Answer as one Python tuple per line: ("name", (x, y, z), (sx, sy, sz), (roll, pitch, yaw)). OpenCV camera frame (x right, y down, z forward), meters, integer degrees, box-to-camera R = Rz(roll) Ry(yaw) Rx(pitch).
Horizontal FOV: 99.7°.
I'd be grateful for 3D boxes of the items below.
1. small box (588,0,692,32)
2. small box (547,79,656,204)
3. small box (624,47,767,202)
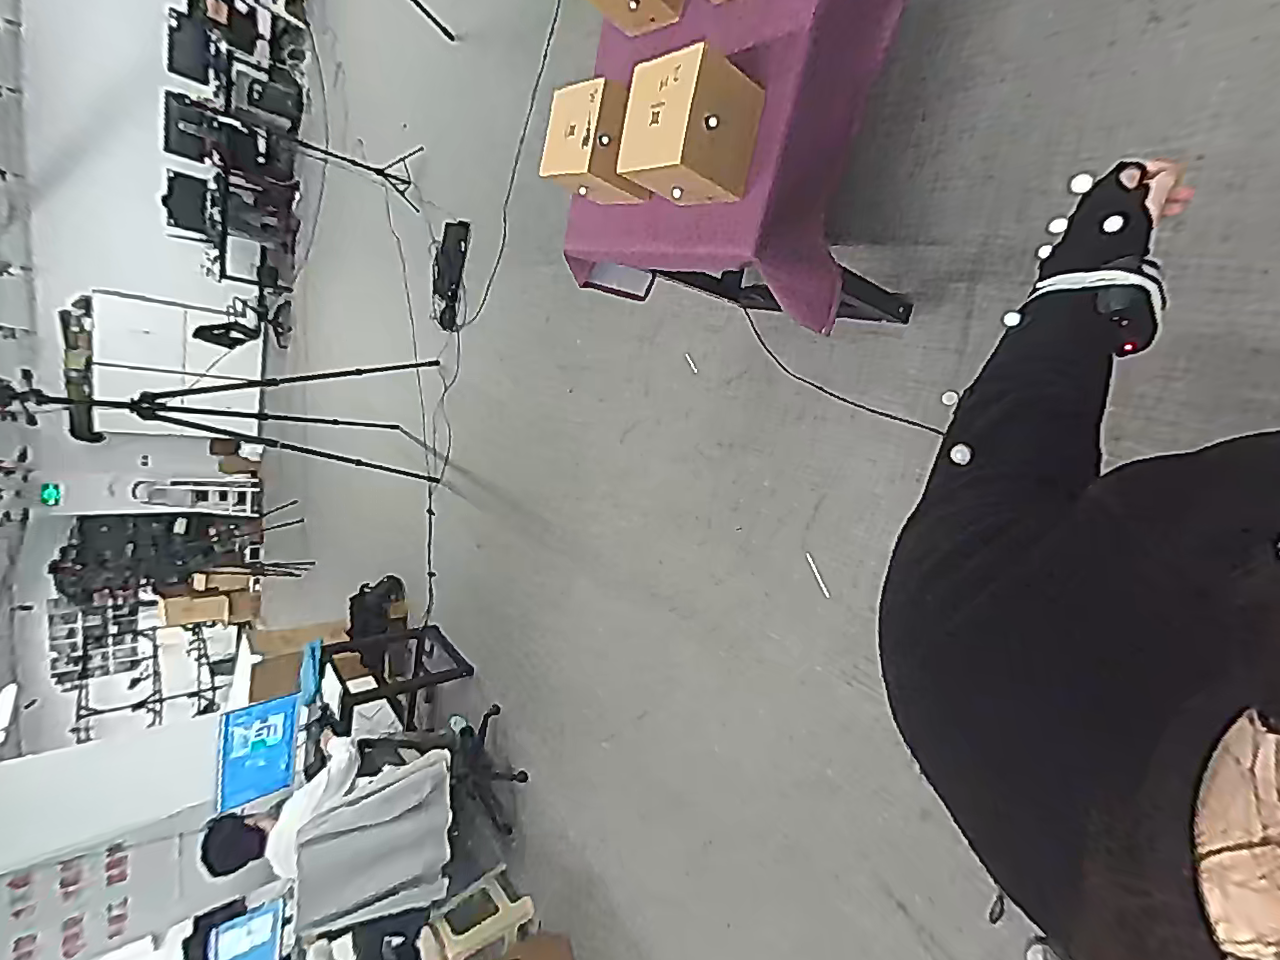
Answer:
("small box", (0.009, -1.024, 1.060), (0.168, 0.176, 0.179), (30, 110, 42))
("small box", (-0.065, -0.695, 1.134), (0.179, 0.176, 0.168), (28, 109, 44))
("small box", (0.100, -0.607, 0.956), (0.168, 0.176, 0.179), (26, 108, 44))
